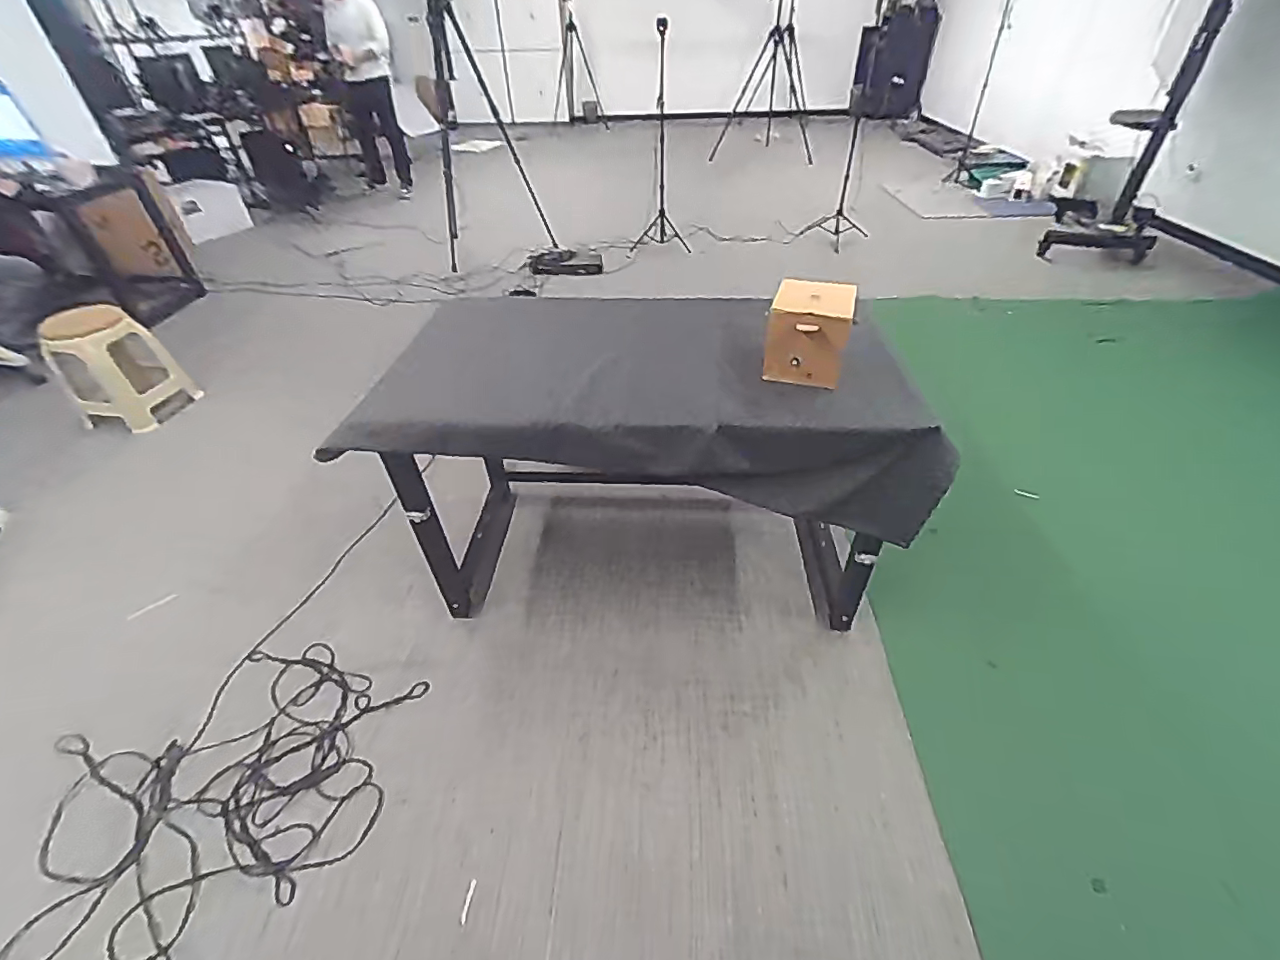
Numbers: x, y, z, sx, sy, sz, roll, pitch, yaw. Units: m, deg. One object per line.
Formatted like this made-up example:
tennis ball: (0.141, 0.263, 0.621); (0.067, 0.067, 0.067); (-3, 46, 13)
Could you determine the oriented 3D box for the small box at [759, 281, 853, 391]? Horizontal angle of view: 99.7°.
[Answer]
small box: (0.367, -0.323, 1.206); (0.168, 0.176, 0.179); (12, 43, 15)
